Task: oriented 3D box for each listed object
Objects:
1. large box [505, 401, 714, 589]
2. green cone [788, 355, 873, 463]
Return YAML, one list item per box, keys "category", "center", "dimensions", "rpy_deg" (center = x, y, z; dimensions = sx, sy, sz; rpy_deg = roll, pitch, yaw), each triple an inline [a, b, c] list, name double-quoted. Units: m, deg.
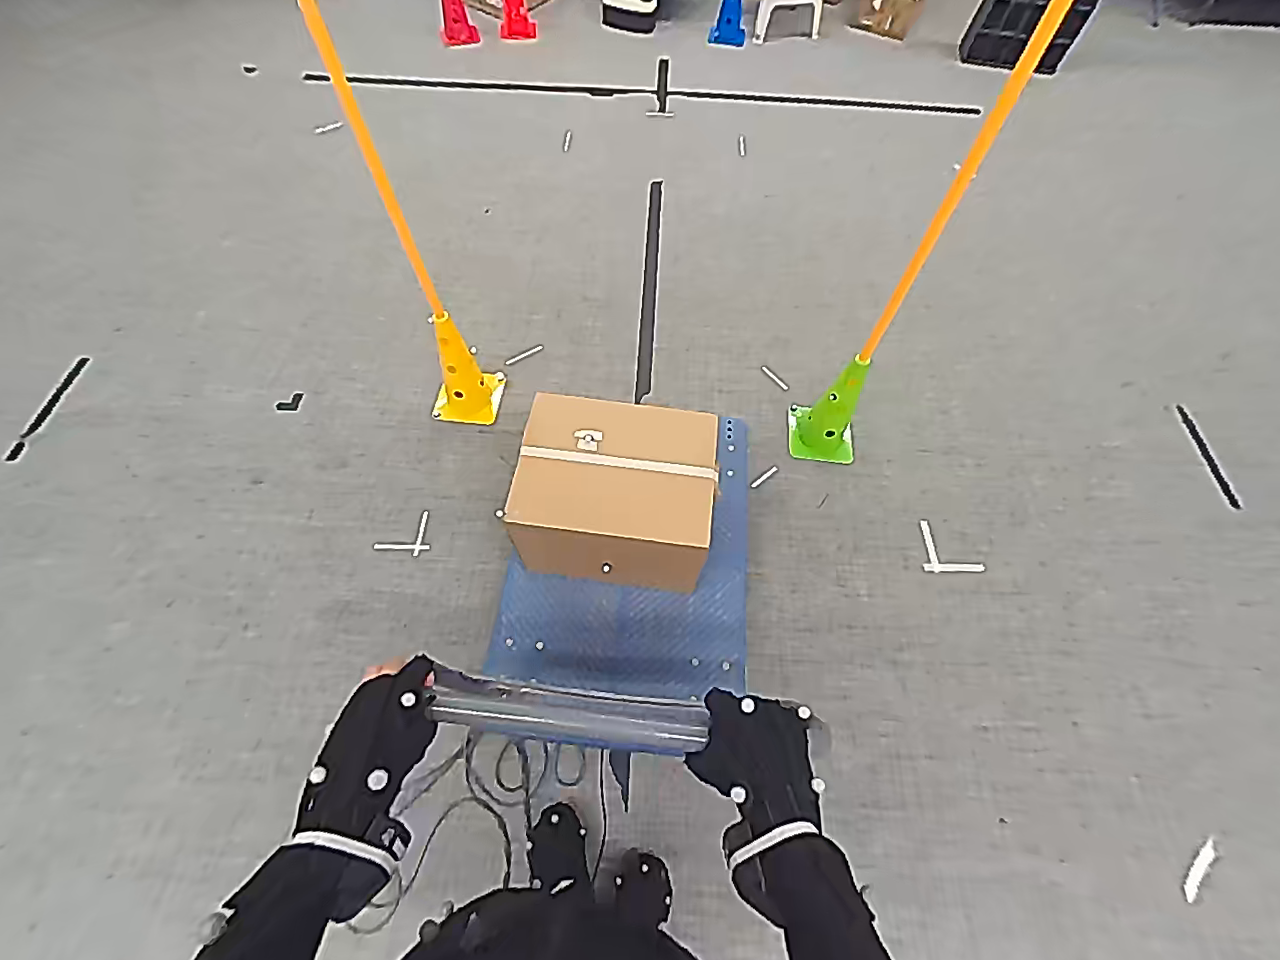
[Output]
- category: "large box"
  center: [-0.052, 0.047, 1.253]
  dimensions: [0.408, 0.320, 0.320]
  rpy_deg: [7, 62, 3]
- category: "green cone"
  center: [0.586, -0.230, 1.590]
  dimensions: [0.202, 0.368, 0.200]
  rpy_deg: [7, 61, 1]
